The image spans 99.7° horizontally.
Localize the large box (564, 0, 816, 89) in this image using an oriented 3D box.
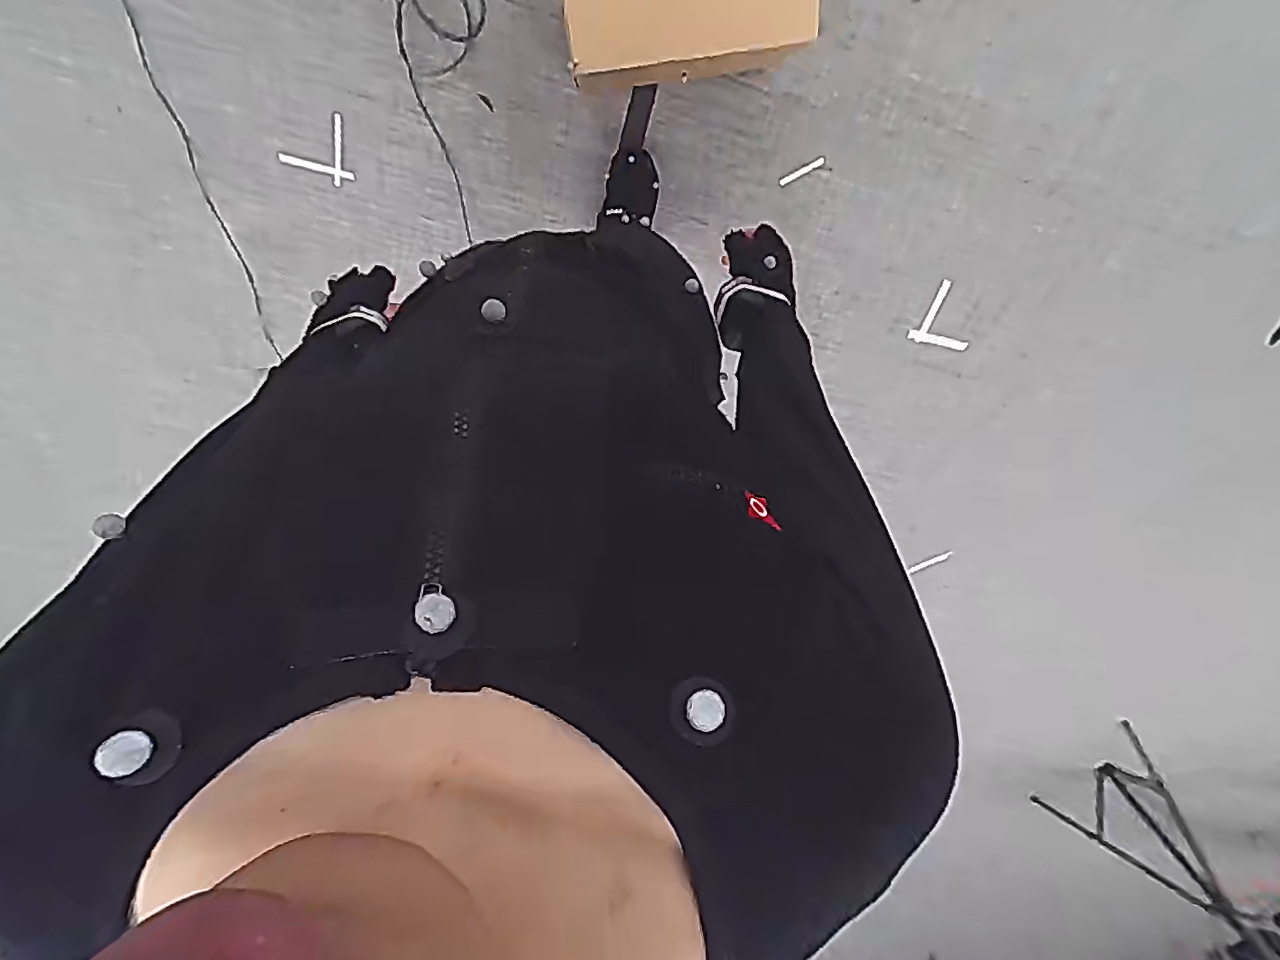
[{"bbox_3d":[0.066,-0.904,0.939,0.408,0.320,0.320,-7,121,1],"label":"large box"}]
